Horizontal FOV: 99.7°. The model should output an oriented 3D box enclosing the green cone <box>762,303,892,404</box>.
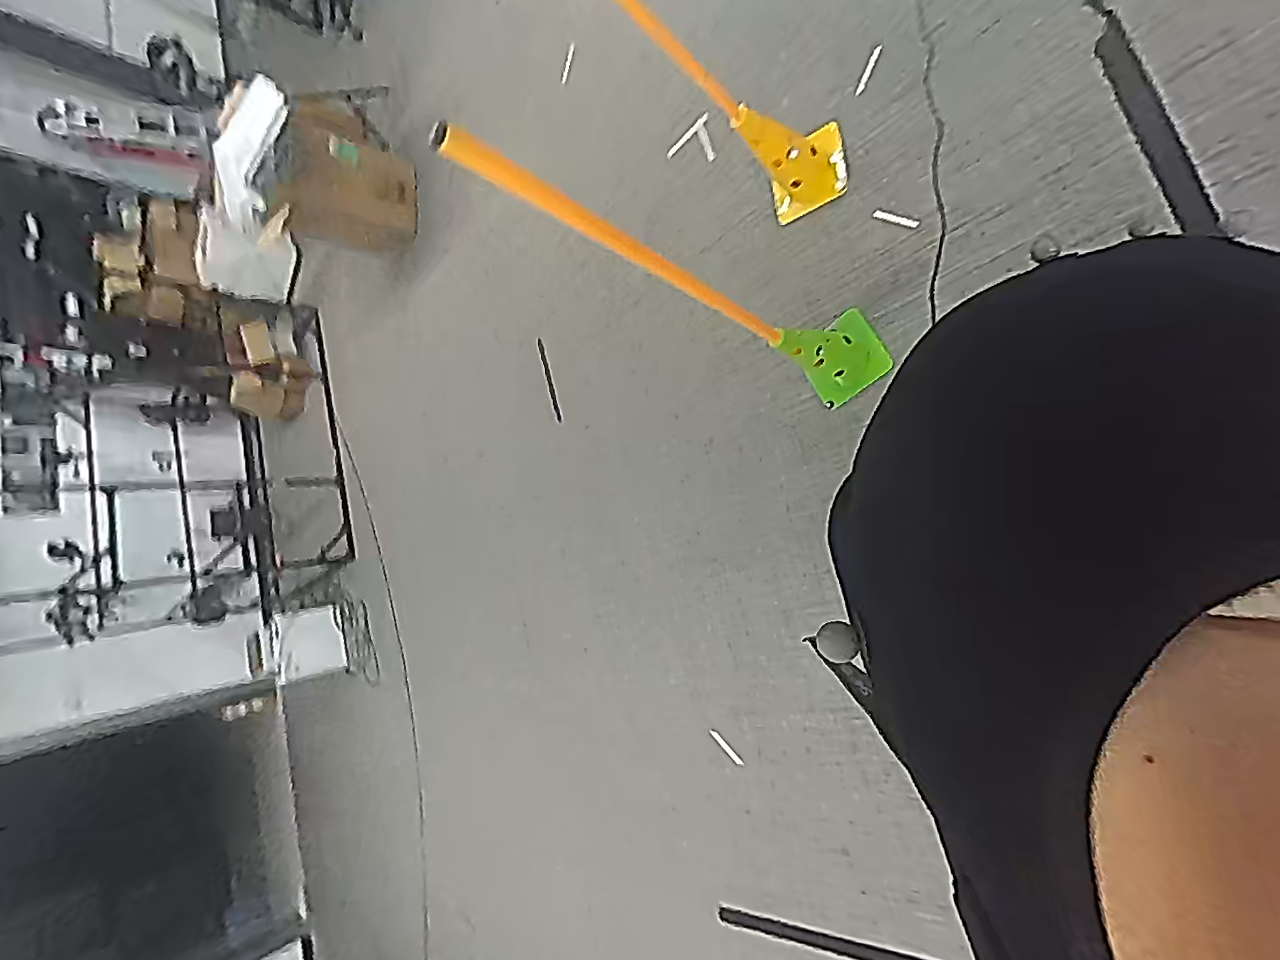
[{"bbox_3d":[0.406,-0.324,1.280,0.200,0.368,0.202,-40,64,36],"label":"green cone"}]
